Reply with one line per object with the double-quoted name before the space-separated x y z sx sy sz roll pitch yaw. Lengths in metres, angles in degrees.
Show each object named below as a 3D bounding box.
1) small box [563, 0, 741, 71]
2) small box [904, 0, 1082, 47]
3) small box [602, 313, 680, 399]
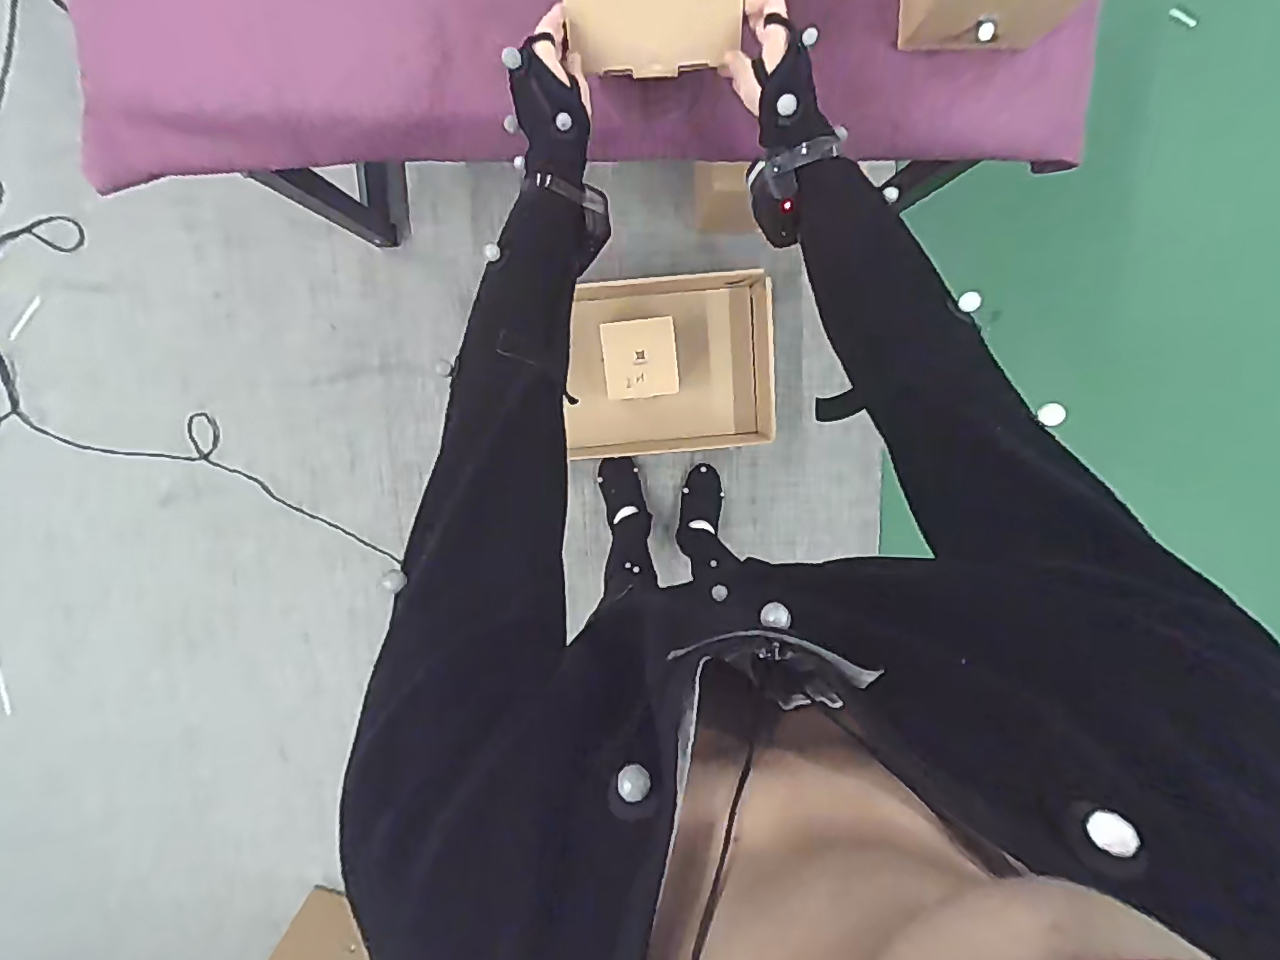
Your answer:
"small box" 0.010 -0.519 0.522 0.168 0.176 0.179 -3 134 1
"small box" 0.391 -0.592 0.551 0.168 0.176 0.179 -1 99 0
"small box" 0.000 -0.289 1.283 0.168 0.176 0.179 -6 101 0
